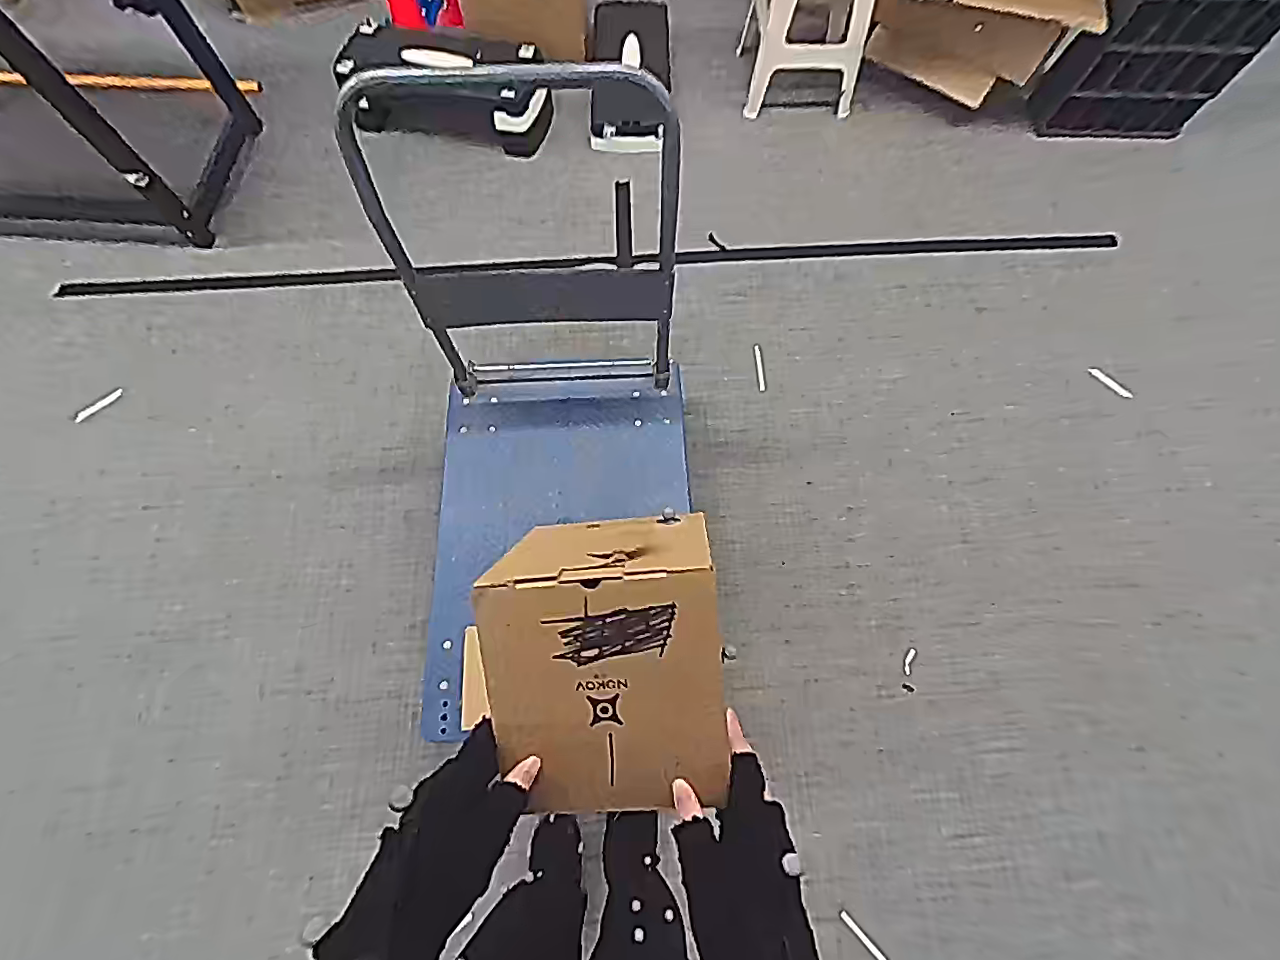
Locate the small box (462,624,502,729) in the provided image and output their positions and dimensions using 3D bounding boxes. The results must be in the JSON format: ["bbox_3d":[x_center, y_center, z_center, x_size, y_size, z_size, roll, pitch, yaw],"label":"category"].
[{"bbox_3d":[-0.228,0.369,1.029,0.168,0.176,0.179,-3,69,-2],"label":"small box"}]

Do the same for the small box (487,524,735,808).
[{"bbox_3d":[-0.014,0.138,0.458,0.168,0.176,0.179,-5,98,5],"label":"small box"}]
